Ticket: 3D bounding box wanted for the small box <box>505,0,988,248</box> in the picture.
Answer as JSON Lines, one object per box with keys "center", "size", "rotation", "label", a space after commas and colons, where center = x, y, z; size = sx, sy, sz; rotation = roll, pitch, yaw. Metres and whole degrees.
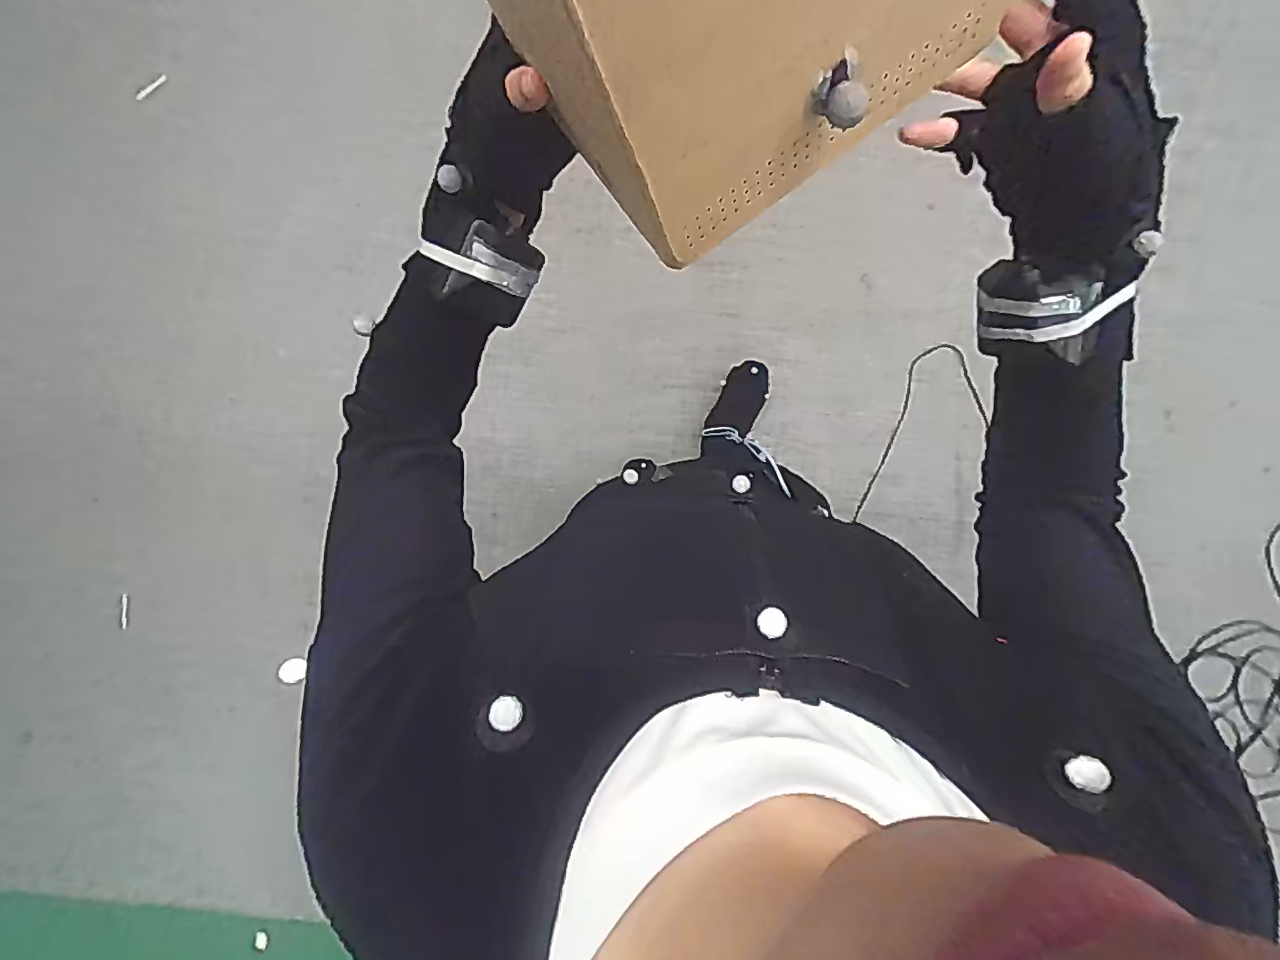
{"center": [0.029, -0.233, 0.198], "size": [0.179, 0.176, 0.168], "rotation": [-33, 72, 7], "label": "small box"}
